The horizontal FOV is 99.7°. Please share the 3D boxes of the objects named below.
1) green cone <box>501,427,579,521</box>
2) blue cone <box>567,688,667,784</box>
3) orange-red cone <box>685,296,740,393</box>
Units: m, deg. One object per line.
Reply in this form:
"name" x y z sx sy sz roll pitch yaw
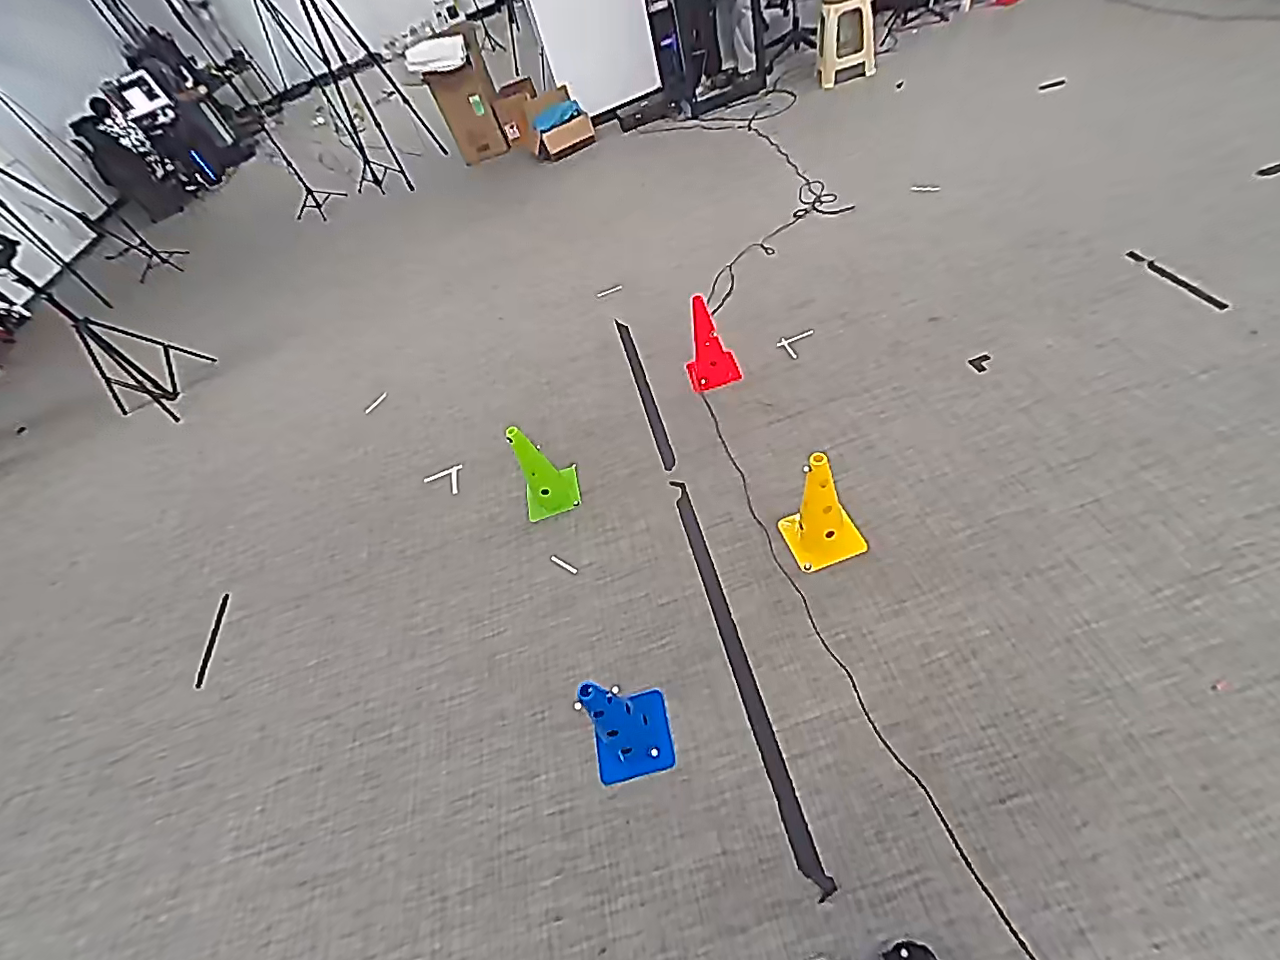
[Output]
"green cone" -0.377 -0.055 1.888 0.202 0.368 0.200 -20 48 5
"blue cone" -0.076 0.568 1.283 0.192 0.380 0.193 -18 48 7
"orange-red cone" 0.248 -0.544 2.069 0.199 0.360 0.198 -16 50 6
